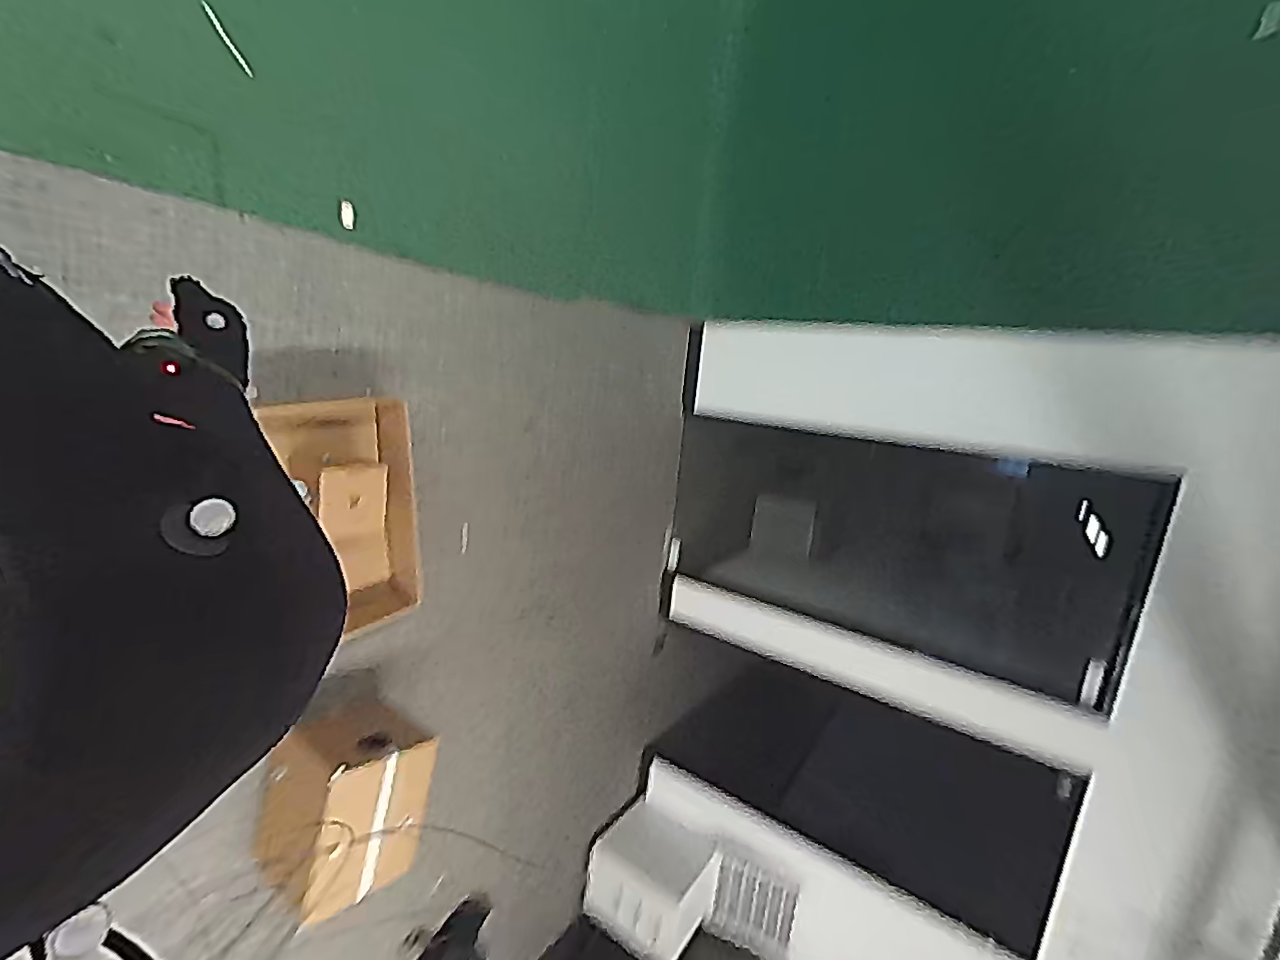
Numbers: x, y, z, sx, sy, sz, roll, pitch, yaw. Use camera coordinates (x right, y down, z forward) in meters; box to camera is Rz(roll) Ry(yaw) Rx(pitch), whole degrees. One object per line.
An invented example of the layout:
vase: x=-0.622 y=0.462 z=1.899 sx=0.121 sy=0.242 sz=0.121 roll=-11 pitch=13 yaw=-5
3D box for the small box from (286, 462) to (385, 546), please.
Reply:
small box: x=-0.779 y=0.051 z=1.380 sx=0.168 sy=0.176 sz=0.179 roll=-8 pitch=109 yaw=-55
